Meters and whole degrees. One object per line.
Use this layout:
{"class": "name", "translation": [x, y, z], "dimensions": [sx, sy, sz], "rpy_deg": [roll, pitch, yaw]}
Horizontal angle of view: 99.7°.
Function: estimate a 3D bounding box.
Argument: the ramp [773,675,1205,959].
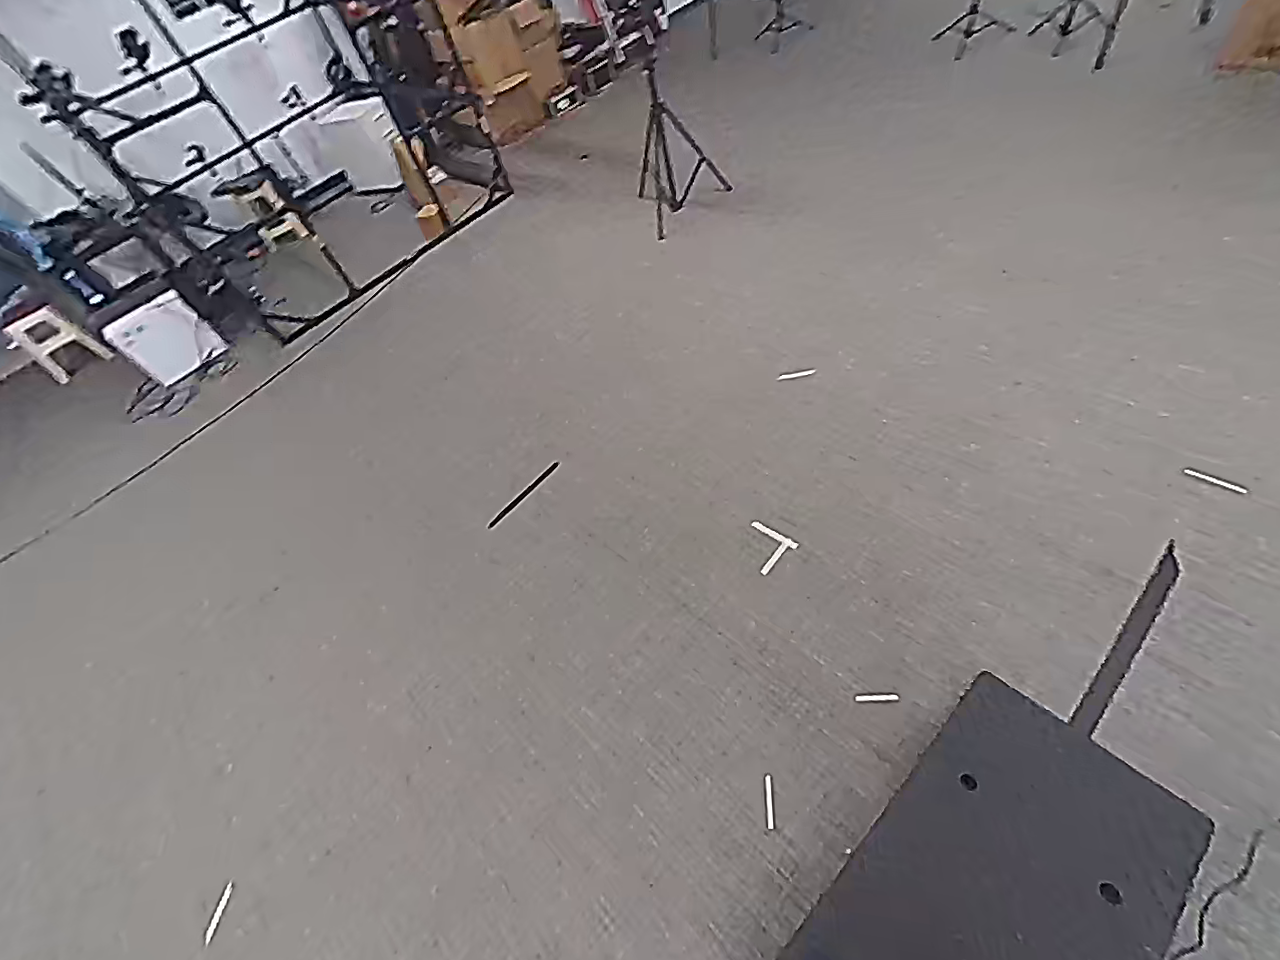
{"class": "ramp", "translation": [0.696, 0.886, 1.098], "dimensions": [0.991, 0.206, 0.509], "rpy_deg": [-43, 52, -18]}
